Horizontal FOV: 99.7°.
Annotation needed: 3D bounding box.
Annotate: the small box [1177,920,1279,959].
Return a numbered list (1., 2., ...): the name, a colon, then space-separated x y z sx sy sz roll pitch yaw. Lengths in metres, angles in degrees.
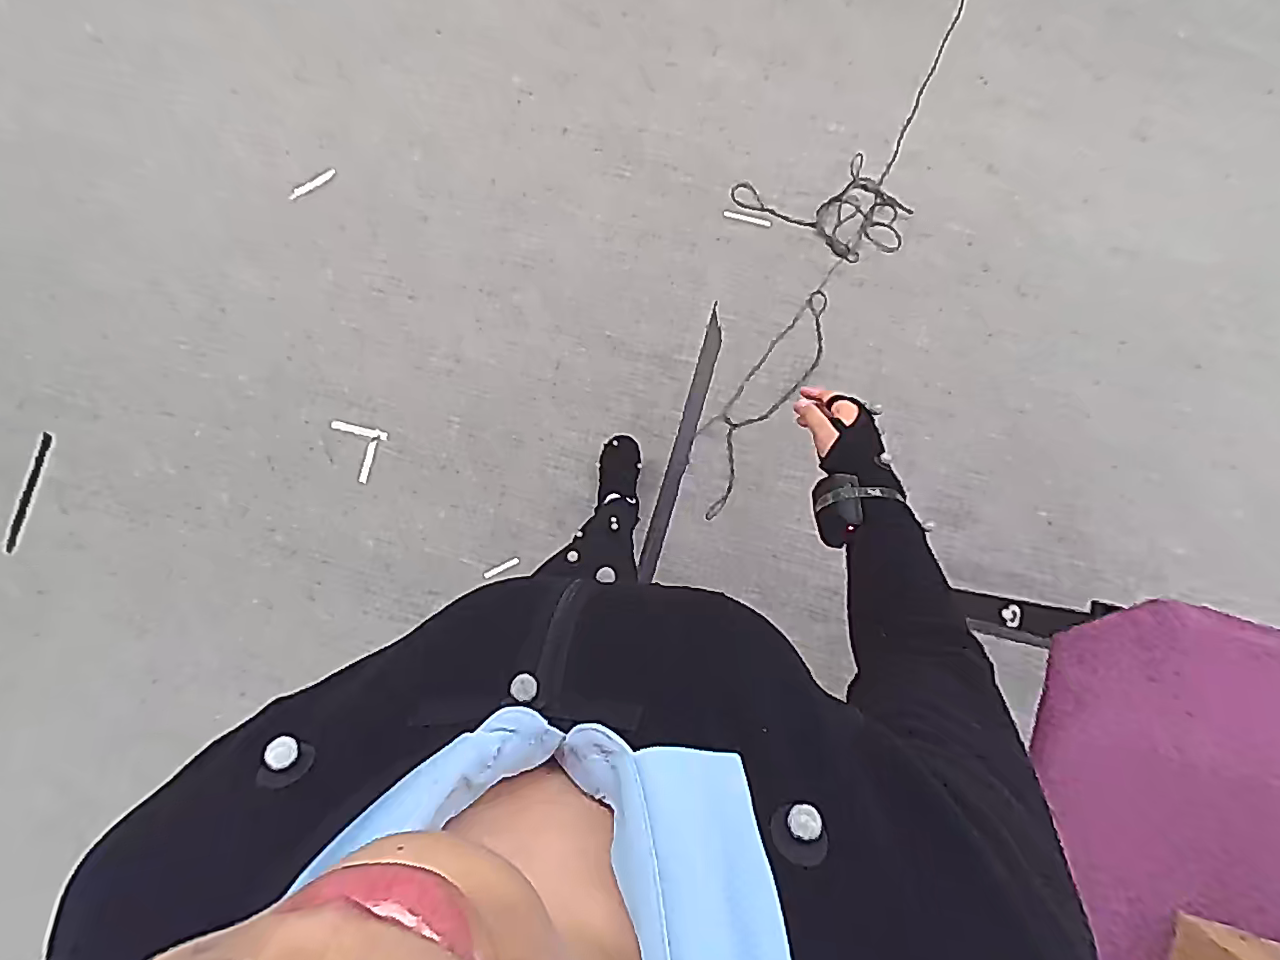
1. small box: 0.720 0.637 0.576 0.168 0.176 0.179 16 86 4
